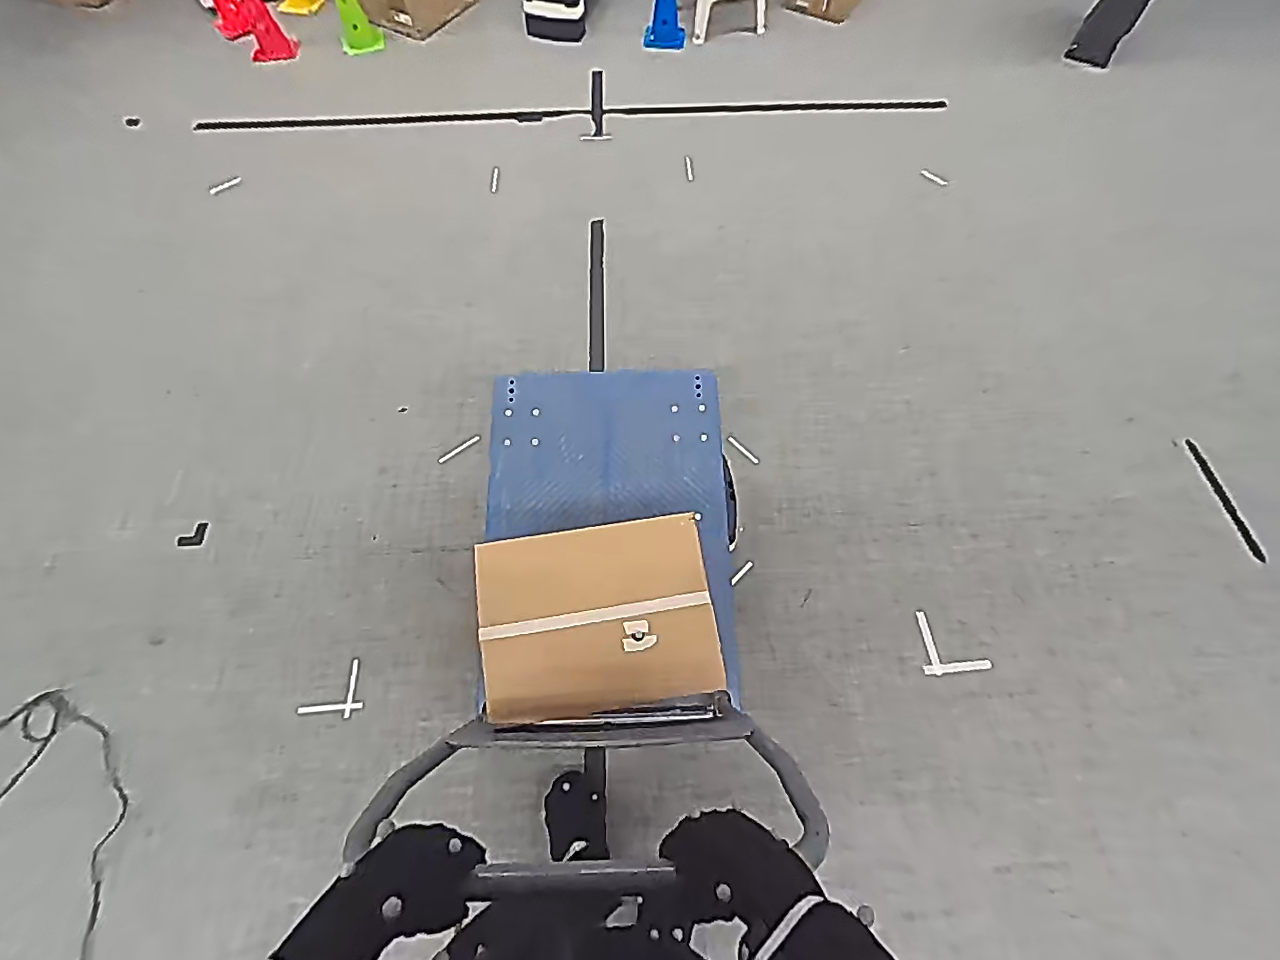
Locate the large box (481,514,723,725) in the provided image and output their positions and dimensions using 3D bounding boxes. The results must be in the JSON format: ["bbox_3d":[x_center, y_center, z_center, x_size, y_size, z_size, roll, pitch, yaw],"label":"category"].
[{"bbox_3d":[-0.079,0.283,1.105,0.408,0.320,0.320,-8,74,-4],"label":"large box"}]
